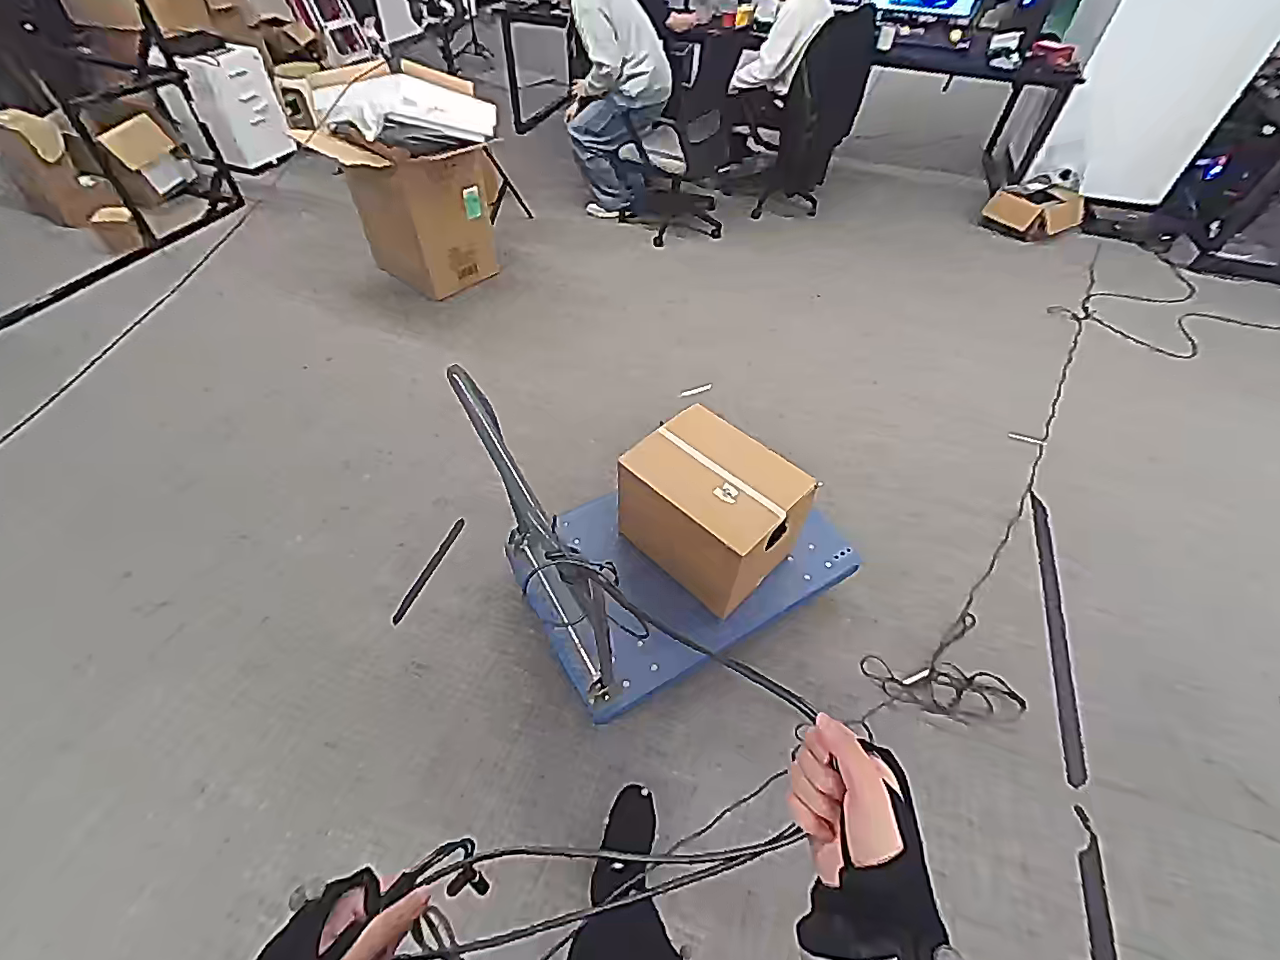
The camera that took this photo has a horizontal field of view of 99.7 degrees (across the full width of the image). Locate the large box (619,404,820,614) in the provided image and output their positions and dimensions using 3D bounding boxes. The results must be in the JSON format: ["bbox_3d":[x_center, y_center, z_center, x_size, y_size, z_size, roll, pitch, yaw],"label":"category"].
[{"bbox_3d":[0.189,0.072,1.444,0.408,0.320,0.320,38,59,25],"label":"large box"}]
